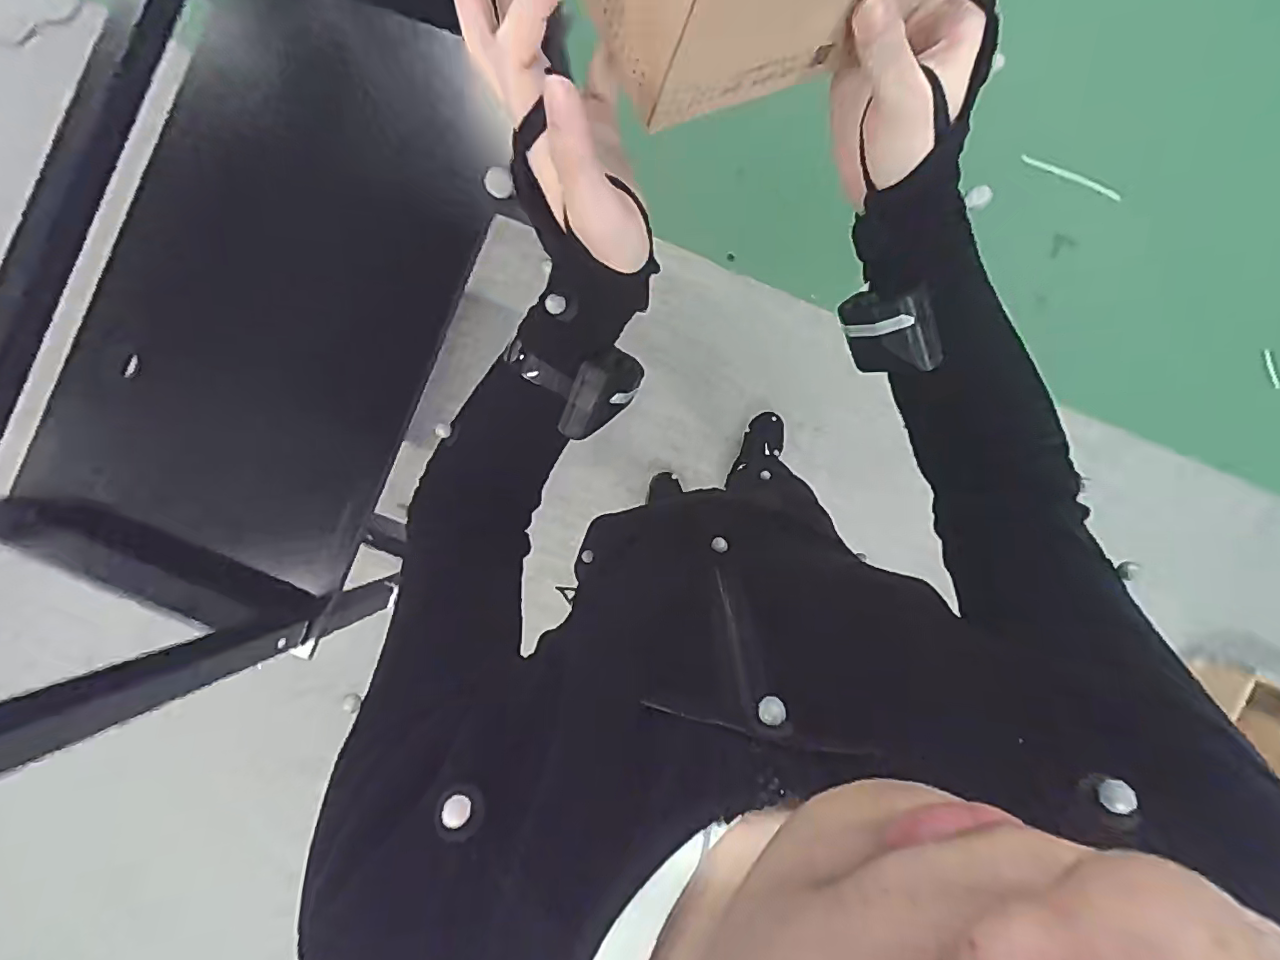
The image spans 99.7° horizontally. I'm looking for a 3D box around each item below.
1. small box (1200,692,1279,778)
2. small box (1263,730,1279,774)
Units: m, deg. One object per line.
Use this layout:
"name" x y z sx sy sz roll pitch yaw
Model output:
"small box" 1.704 0.703 1.468 0.179 0.176 0.168 23 91 2
"small box" 1.704 0.698 1.303 0.179 0.176 0.168 30 90 1
